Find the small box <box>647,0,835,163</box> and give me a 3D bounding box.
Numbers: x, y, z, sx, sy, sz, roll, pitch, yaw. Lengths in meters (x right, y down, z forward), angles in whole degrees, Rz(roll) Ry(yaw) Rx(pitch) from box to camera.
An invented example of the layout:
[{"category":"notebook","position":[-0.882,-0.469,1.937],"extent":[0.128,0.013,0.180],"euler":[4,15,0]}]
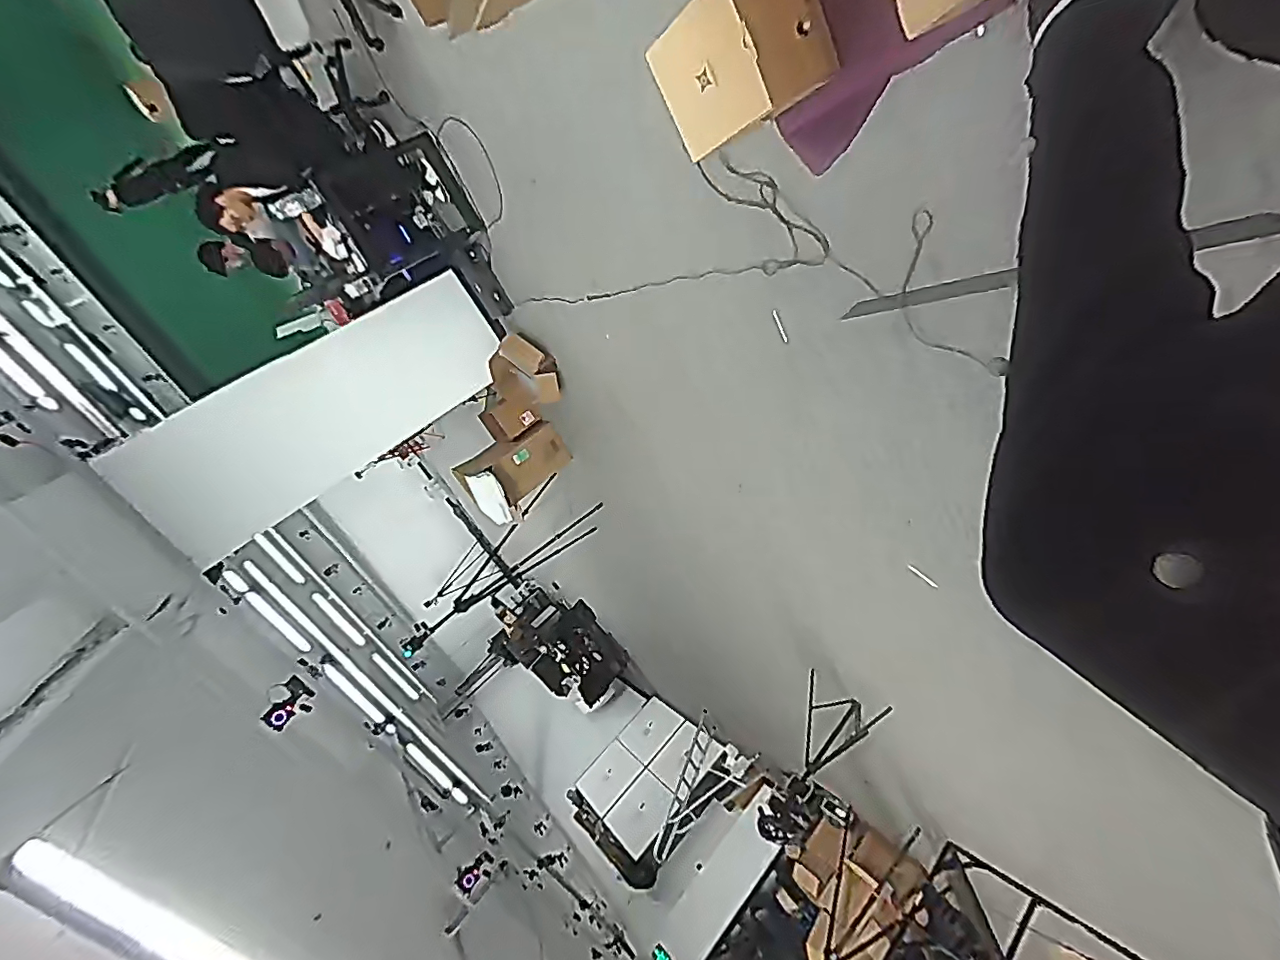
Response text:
[{"category":"small box","position":[0.148,-0.611,0.795],"extent":[0.179,0.176,0.168],"euler":[4,130,57]}]
